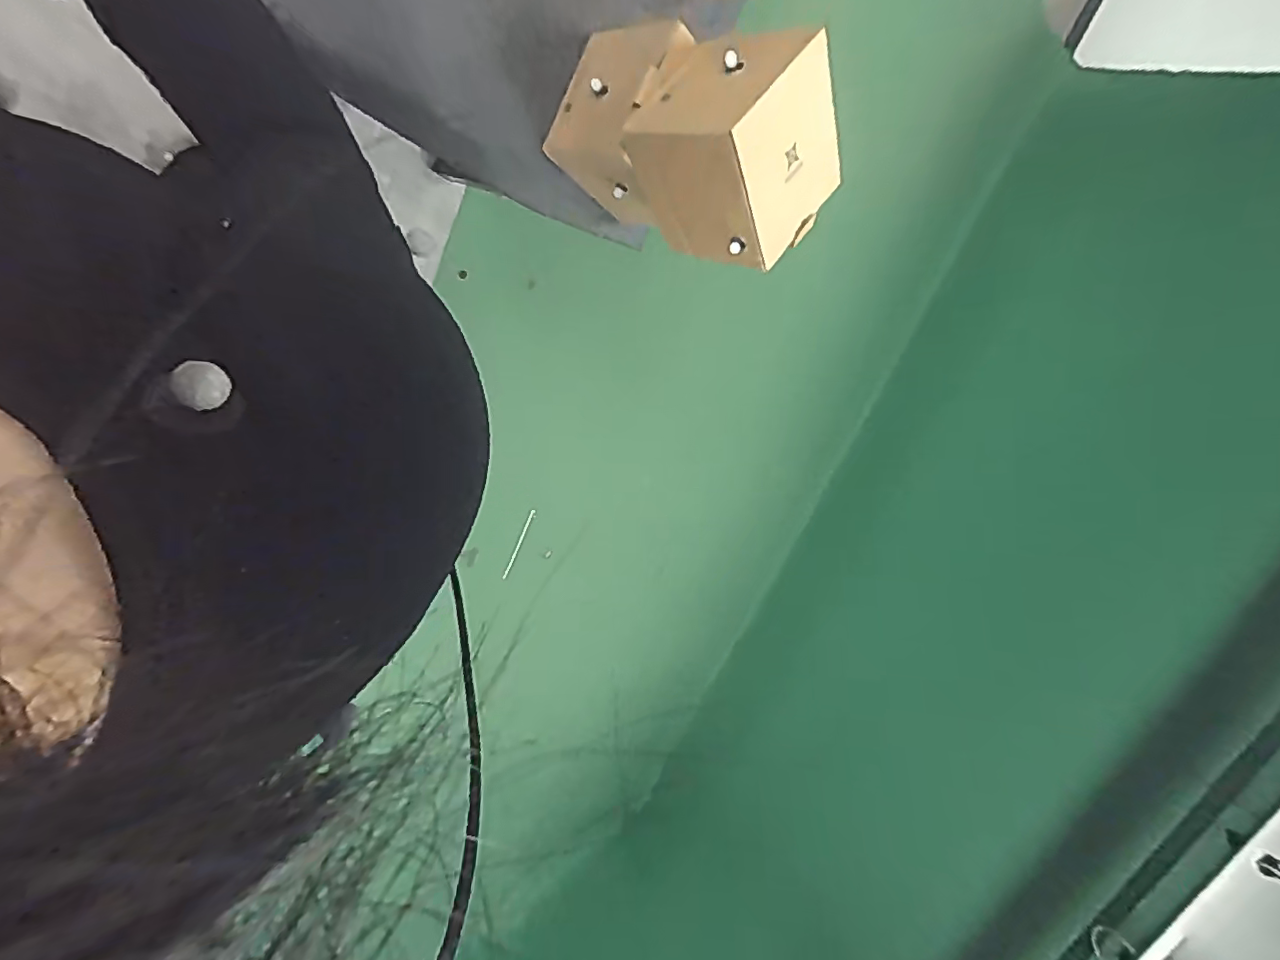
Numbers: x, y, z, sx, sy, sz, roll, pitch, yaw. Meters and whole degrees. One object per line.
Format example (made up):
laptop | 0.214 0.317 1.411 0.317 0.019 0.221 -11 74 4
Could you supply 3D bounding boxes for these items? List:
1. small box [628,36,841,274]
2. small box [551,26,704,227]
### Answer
small box | 0.114 -0.382 0.650 0.168 0.176 0.179 -51 142 -10
small box | 0.009 -0.465 0.744 0.179 0.176 0.168 18 101 -51
